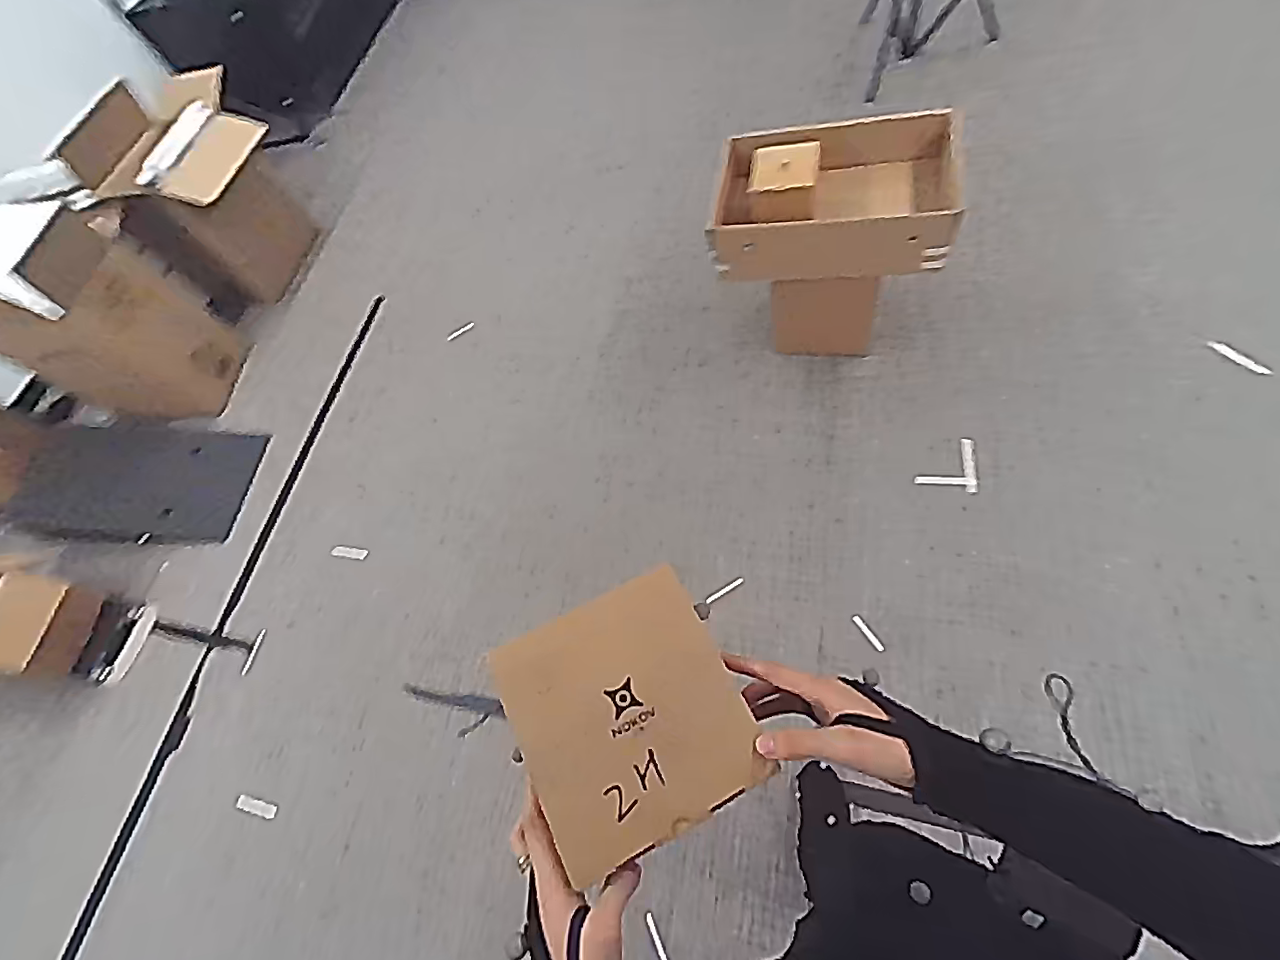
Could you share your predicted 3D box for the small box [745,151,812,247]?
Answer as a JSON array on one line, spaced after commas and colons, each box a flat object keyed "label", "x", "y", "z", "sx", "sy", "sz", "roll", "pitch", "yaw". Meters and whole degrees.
[{"label": "small box", "x": 0.394, "y": -0.792, "z": 1.533, "sx": 0.168, "sy": 0.176, "sz": 0.179, "roll": 3, "pitch": 66, "yaw": 17}]
